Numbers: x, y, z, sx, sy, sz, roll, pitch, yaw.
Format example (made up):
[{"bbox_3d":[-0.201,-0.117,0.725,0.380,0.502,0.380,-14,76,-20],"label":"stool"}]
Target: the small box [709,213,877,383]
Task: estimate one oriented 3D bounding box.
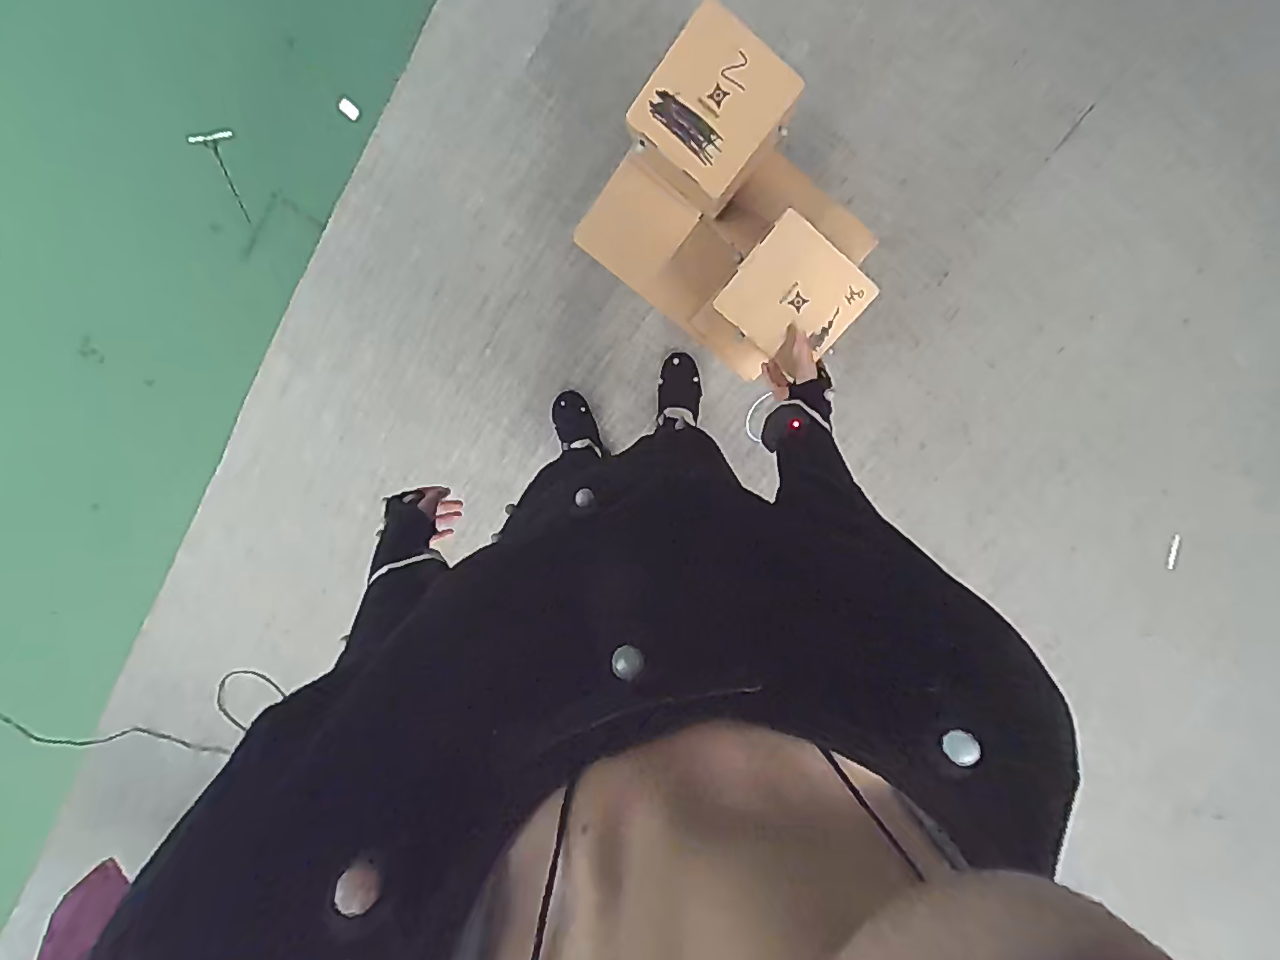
[{"bbox_3d":[0.223,-0.273,0.840,0.179,0.176,0.168,39,108,-5],"label":"small box"}]
